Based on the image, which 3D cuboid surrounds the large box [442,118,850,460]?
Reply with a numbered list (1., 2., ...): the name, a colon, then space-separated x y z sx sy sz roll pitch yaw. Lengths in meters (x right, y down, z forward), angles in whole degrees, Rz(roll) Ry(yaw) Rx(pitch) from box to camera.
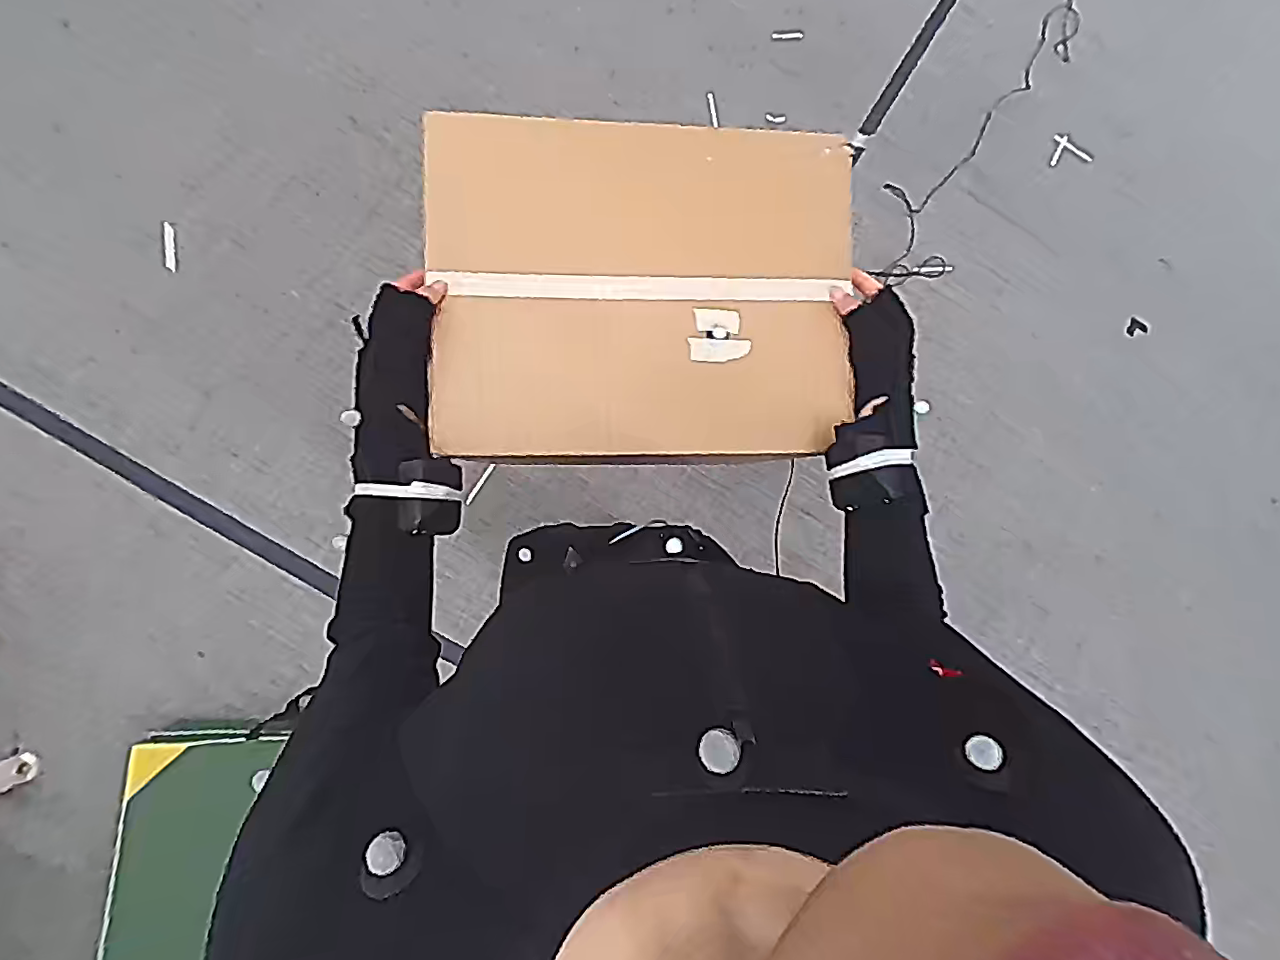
1. large box: -0.005 -0.186 0.672 0.408 0.320 0.320 0 91 -7
